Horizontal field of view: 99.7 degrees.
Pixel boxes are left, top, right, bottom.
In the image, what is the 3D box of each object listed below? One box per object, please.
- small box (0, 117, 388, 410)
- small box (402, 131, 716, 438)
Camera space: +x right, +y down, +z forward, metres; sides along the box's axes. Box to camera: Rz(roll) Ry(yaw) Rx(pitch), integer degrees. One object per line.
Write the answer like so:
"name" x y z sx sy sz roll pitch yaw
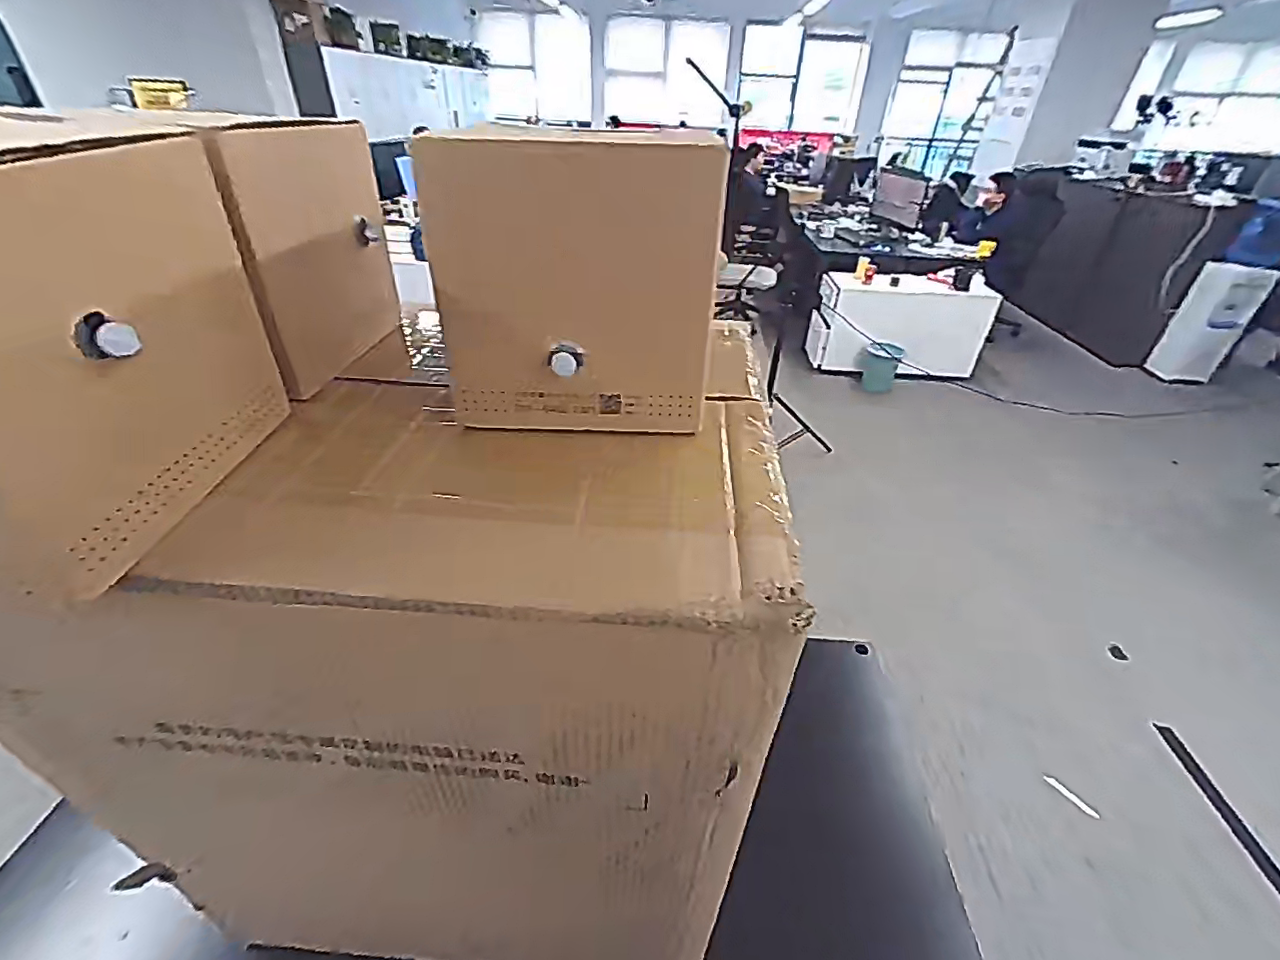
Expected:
"small box" -0.314 -0.169 0.412 0.168 0.176 0.179 2 35 1
"small box" -0.042 -0.145 0.387 0.168 0.176 0.179 1 34 1
